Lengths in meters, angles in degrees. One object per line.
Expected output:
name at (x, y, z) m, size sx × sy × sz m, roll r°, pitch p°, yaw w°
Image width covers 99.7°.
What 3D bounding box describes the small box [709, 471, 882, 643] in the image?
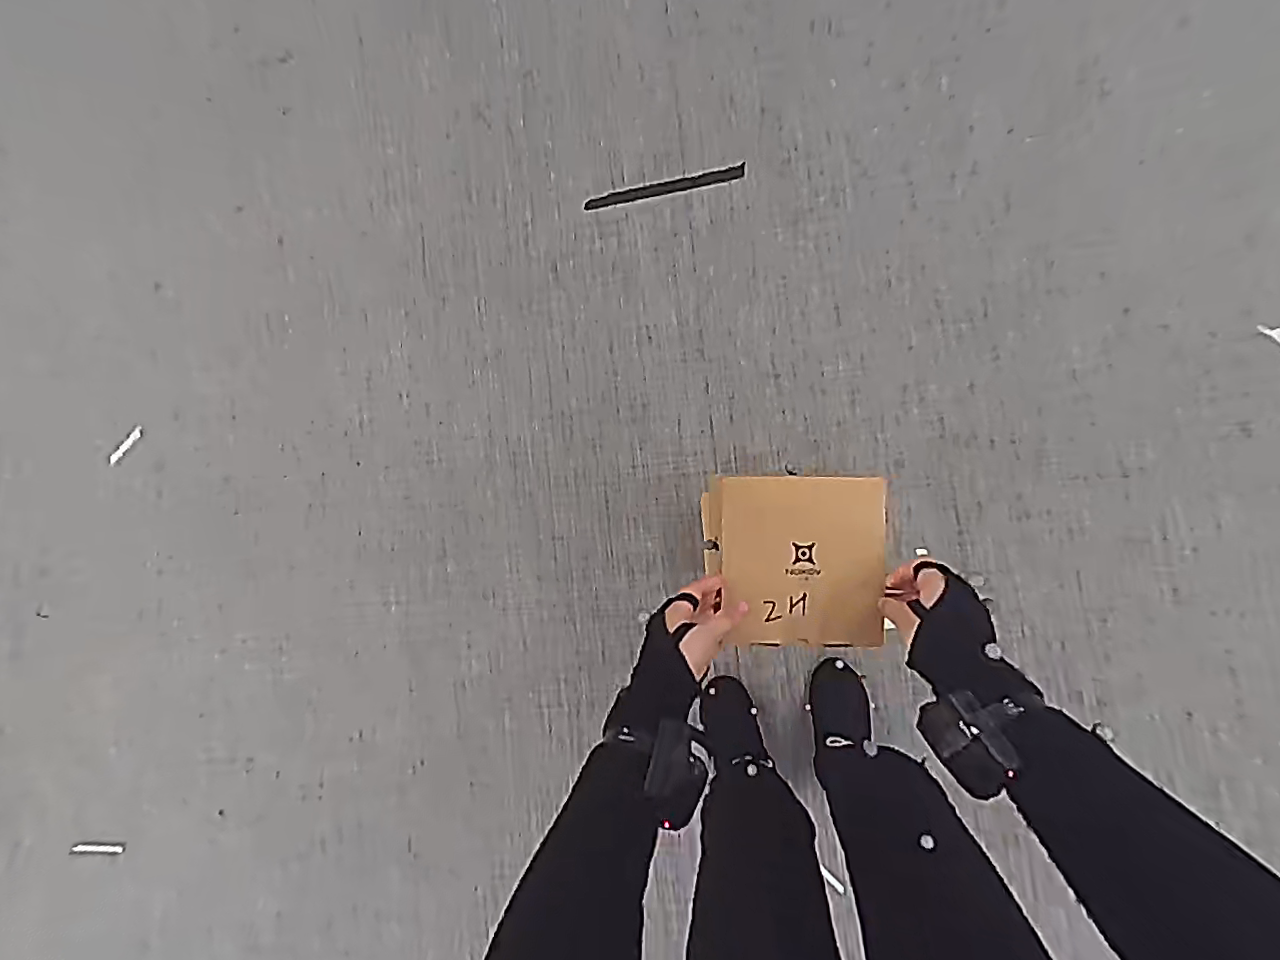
small box at (0.169, 0.079, 0.635) m, size 0.168 × 0.176 × 0.179 m, roll 0°, pitch 91°, yaw 3°
